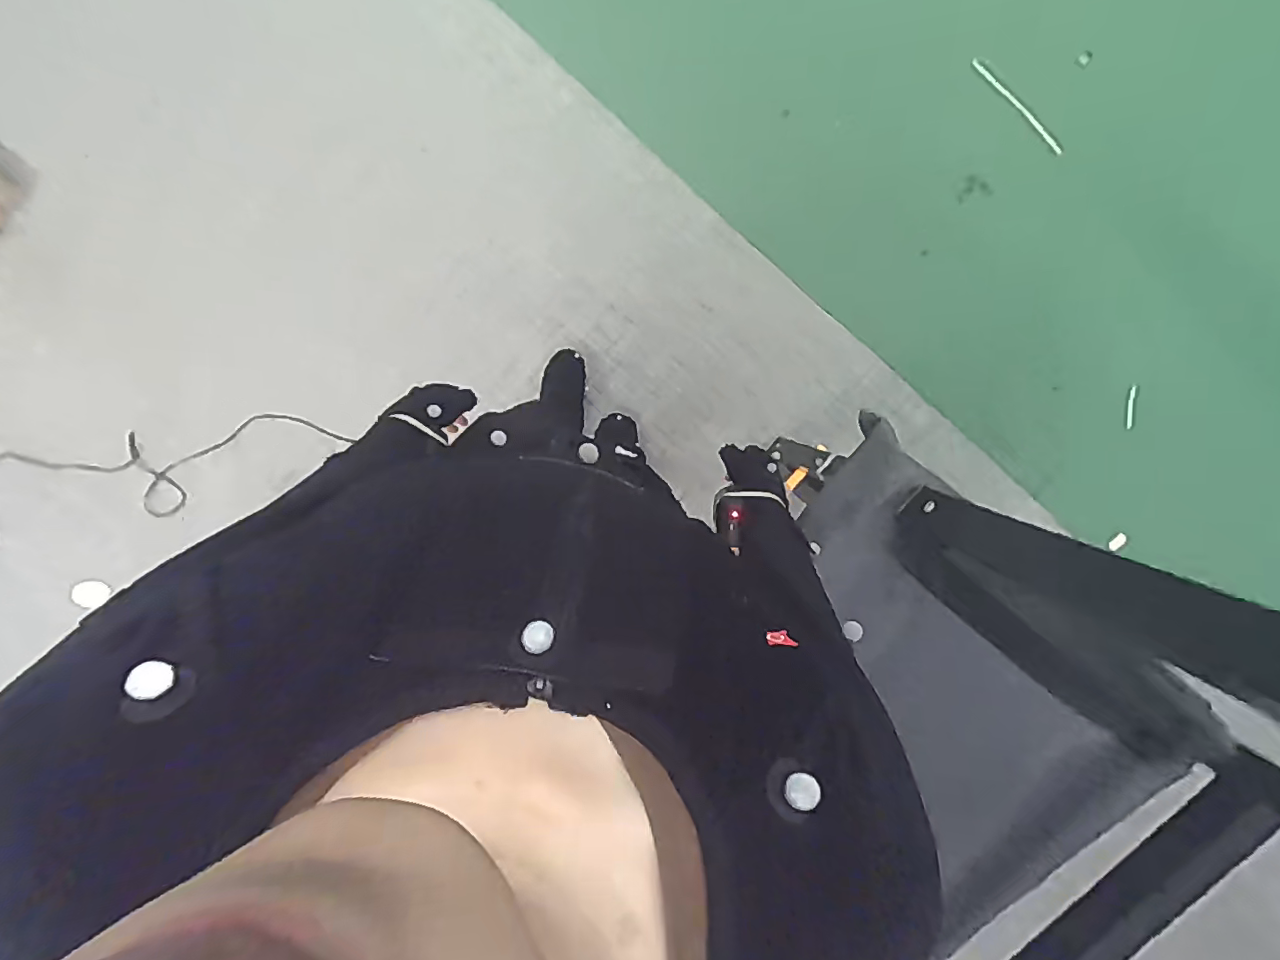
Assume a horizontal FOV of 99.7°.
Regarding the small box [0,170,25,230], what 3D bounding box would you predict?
[{"bbox_3d":[-1.678,-0.717,1.304,0.179,0.176,0.168,44,97,-6],"label":"small box"}]
